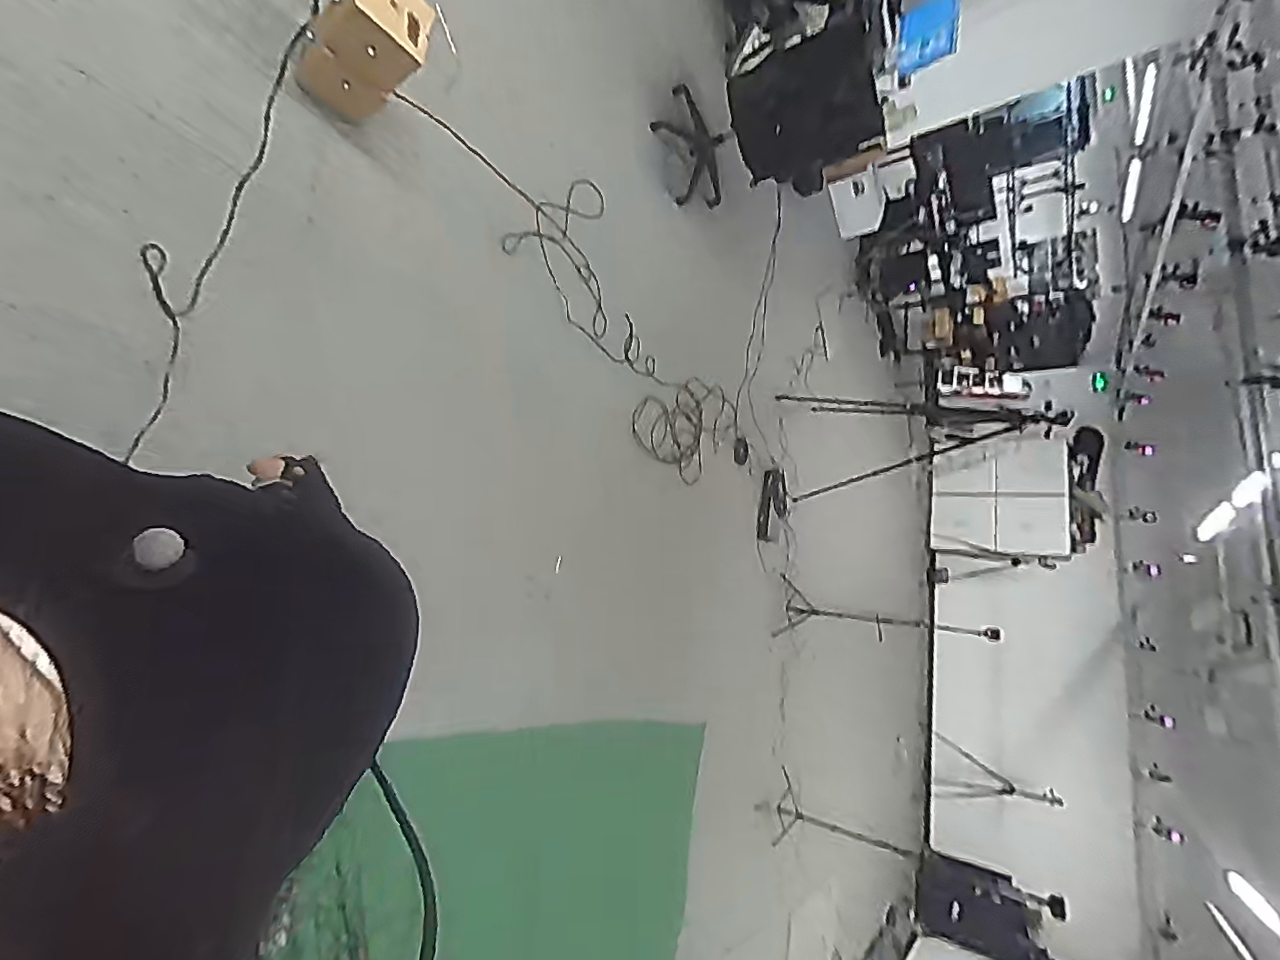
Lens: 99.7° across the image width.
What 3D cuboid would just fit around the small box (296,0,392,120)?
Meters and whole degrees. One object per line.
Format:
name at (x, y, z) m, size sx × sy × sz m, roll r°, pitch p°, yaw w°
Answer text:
small box at (-0.776, -1.103, 1.429) m, size 0.179 × 0.176 × 0.168 m, roll 15°, pitch 77°, yaw -52°

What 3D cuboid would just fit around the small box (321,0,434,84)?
small box at (-0.645, -1.126, 1.331) m, size 0.179 × 0.176 × 0.168 m, roll 20°, pitch 72°, yaw -50°
